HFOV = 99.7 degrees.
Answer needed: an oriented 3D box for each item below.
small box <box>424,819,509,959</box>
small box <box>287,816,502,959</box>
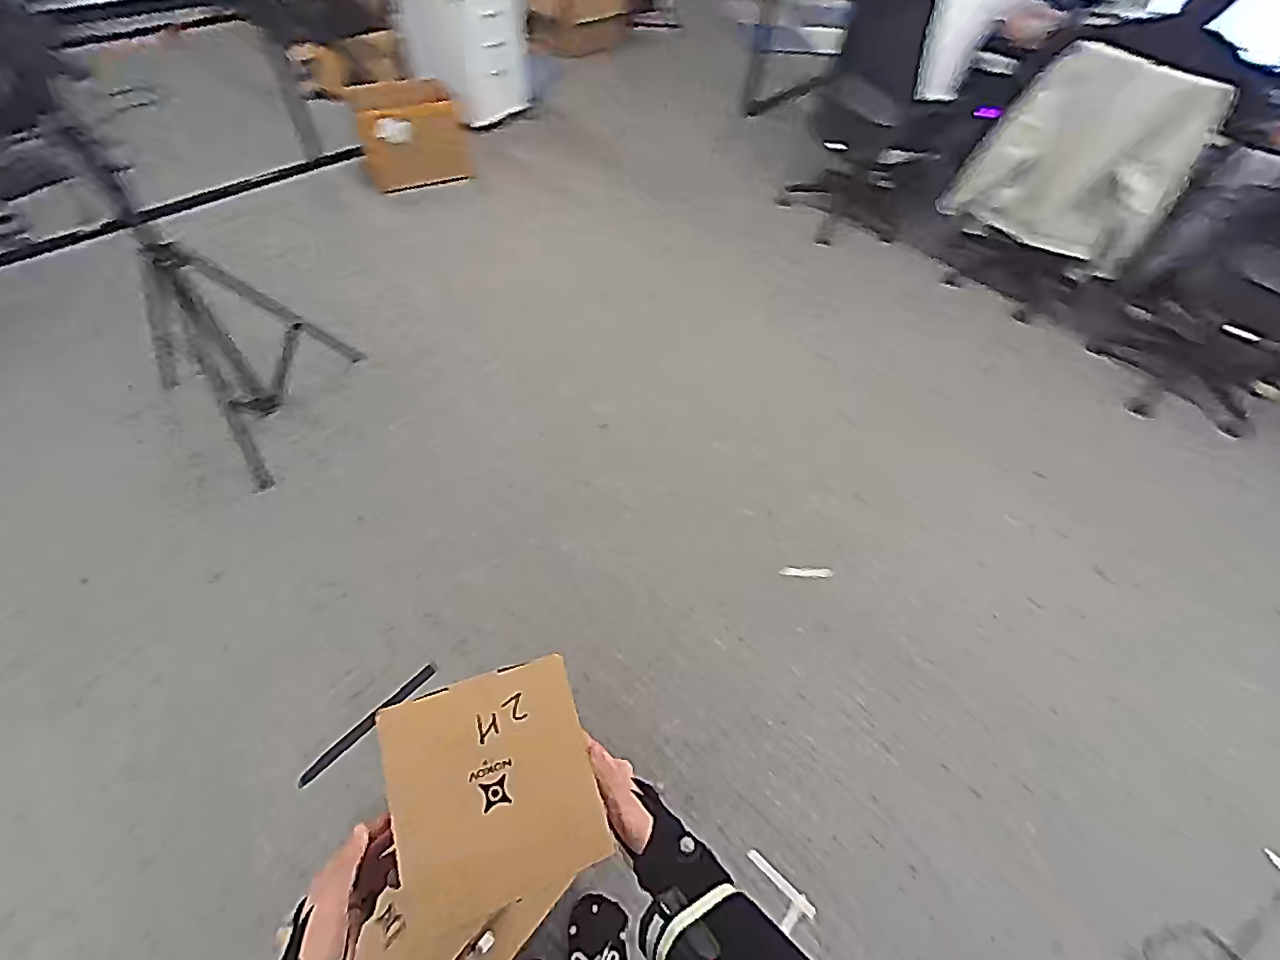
[{"bbox_3d":[-0.324,0.667,0.835,0.179,0.176,0.168,38,60,18],"label":"small box"},{"bbox_3d":[-0.301,0.575,0.703,0.179,0.176,0.168,37,58,18],"label":"small box"}]
